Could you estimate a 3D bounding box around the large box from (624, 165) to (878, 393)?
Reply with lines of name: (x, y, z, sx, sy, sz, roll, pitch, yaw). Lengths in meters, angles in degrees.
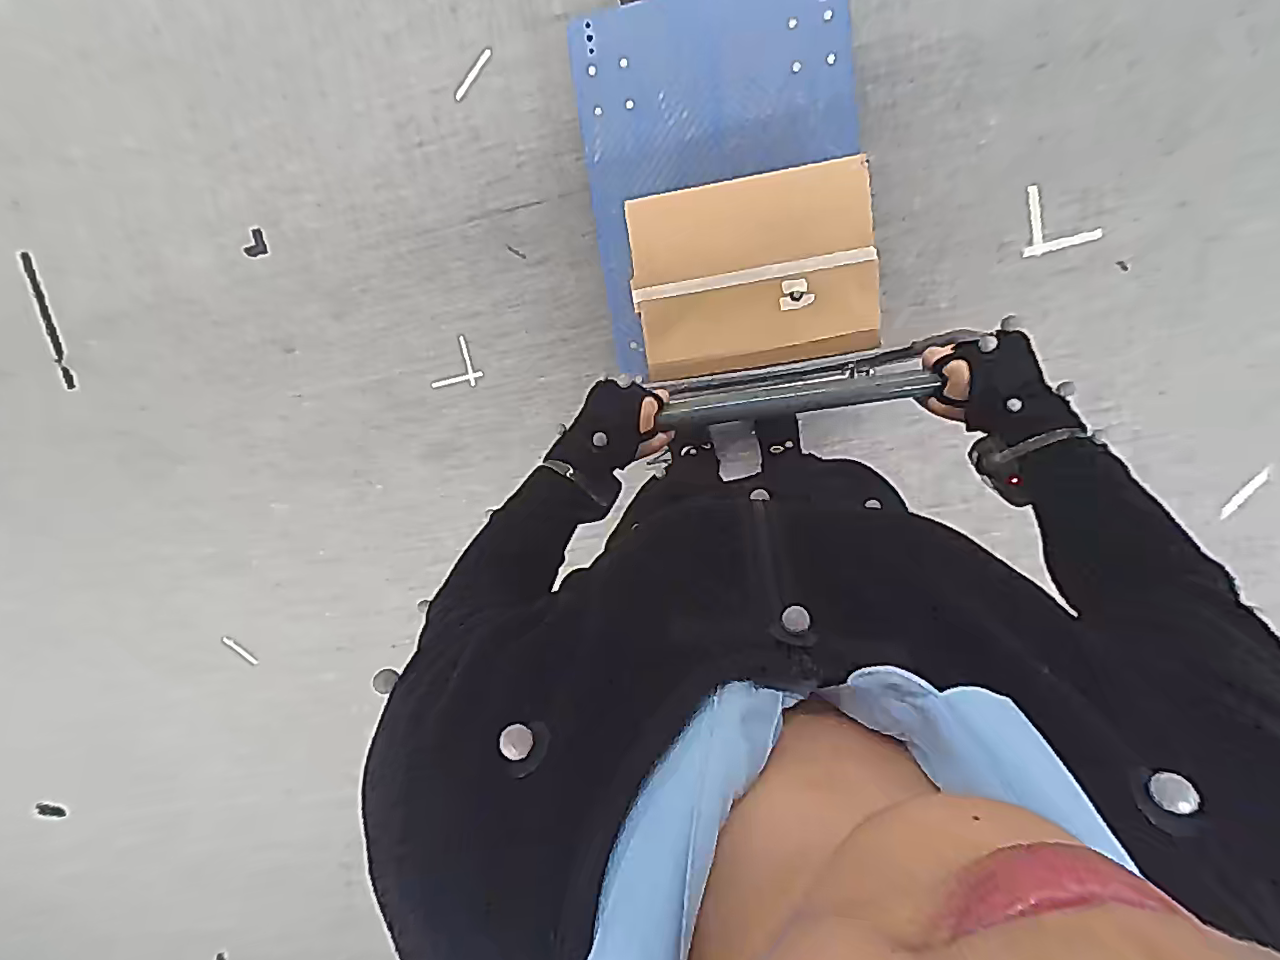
large box: (0.202, -0.361, 1.071, 0.408, 0.320, 0.320, -8, 101, 7)
